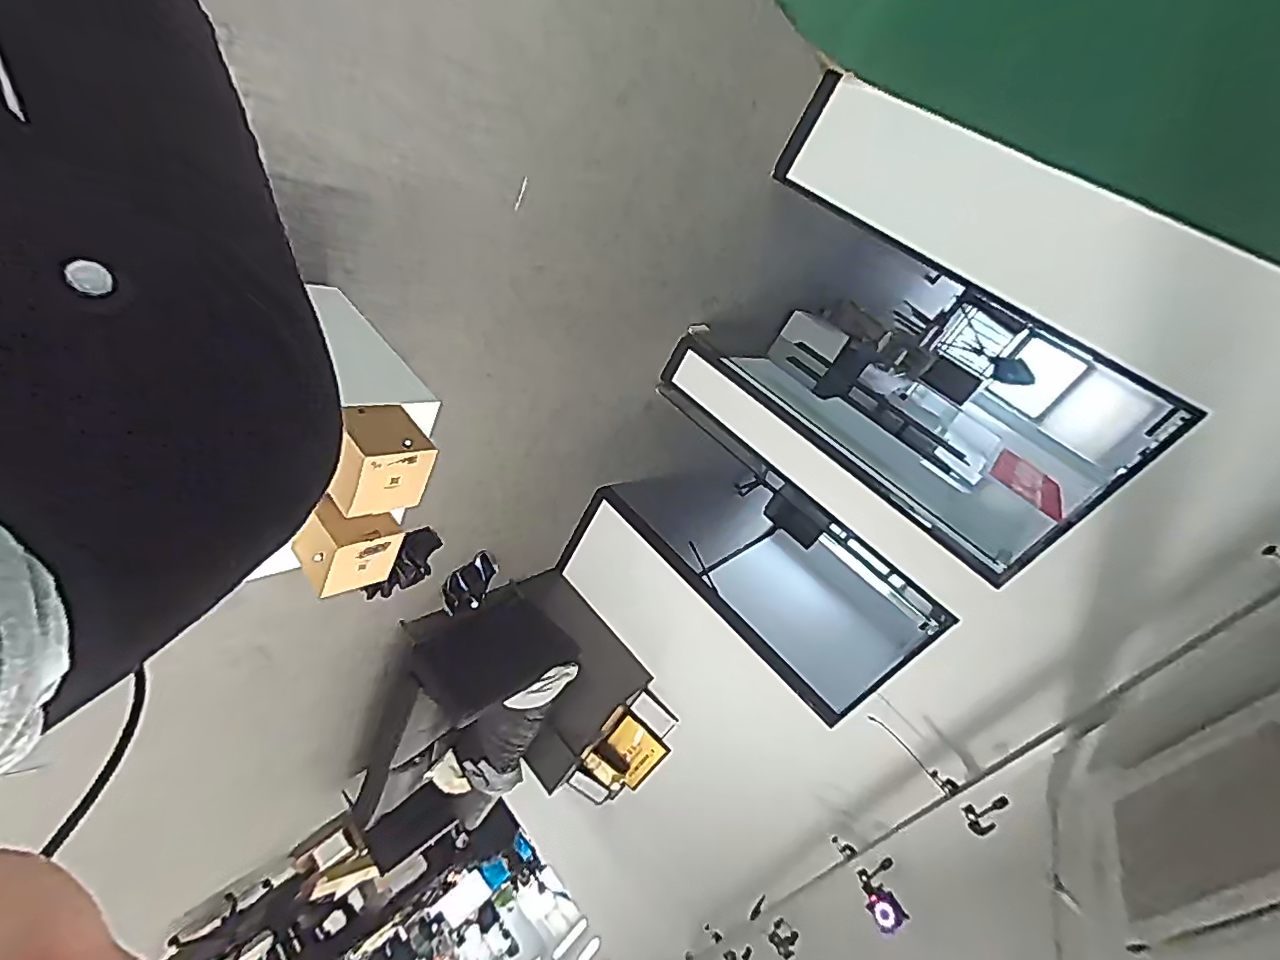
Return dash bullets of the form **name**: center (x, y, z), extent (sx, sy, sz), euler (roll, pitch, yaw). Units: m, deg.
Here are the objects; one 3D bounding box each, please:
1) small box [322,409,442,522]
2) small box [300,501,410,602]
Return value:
- **small box**: center (-0.576, -0.037, 1.198), extent (0.168, 0.176, 0.179), euler (-15, 144, -53)
- **small box**: center (-0.697, 0.159, 1.318), extent (0.168, 0.176, 0.179), euler (-12, 141, -54)
